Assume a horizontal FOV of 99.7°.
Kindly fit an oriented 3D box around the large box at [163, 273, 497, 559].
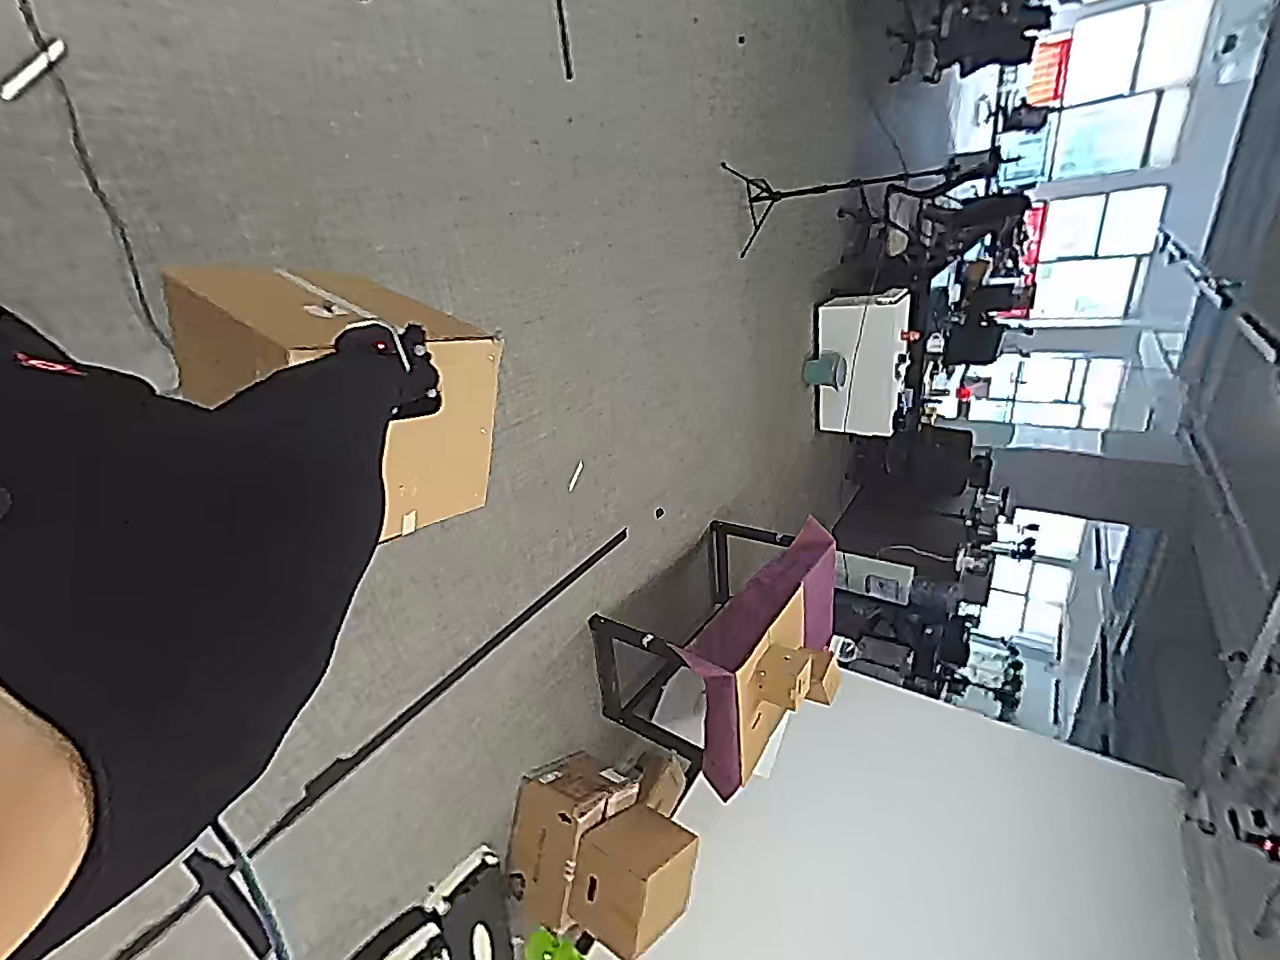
[{"bbox_3d":[-0.505,-0.132,0.904,0.320,0.408,0.320,-24,135,-50],"label":"large box"}]
